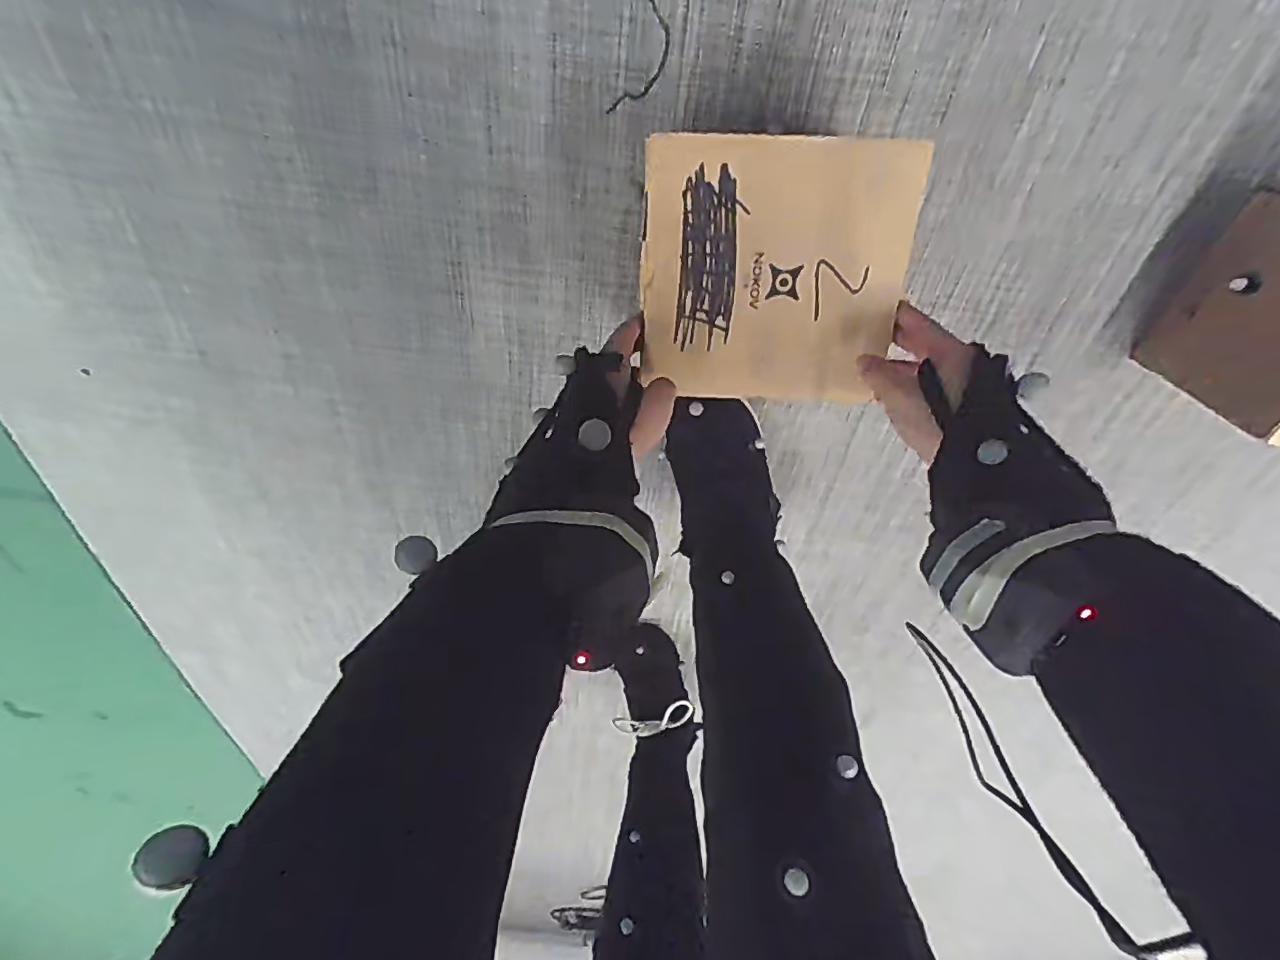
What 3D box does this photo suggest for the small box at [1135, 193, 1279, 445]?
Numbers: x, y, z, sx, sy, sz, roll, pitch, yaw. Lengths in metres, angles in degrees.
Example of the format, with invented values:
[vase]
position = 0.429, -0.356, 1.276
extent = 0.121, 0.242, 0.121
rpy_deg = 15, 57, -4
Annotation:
[small box]
position = 0.610, -0.133, 0.465
extent = 0.179, 0.176, 0.168
rpy_deg = 9, 128, -3
